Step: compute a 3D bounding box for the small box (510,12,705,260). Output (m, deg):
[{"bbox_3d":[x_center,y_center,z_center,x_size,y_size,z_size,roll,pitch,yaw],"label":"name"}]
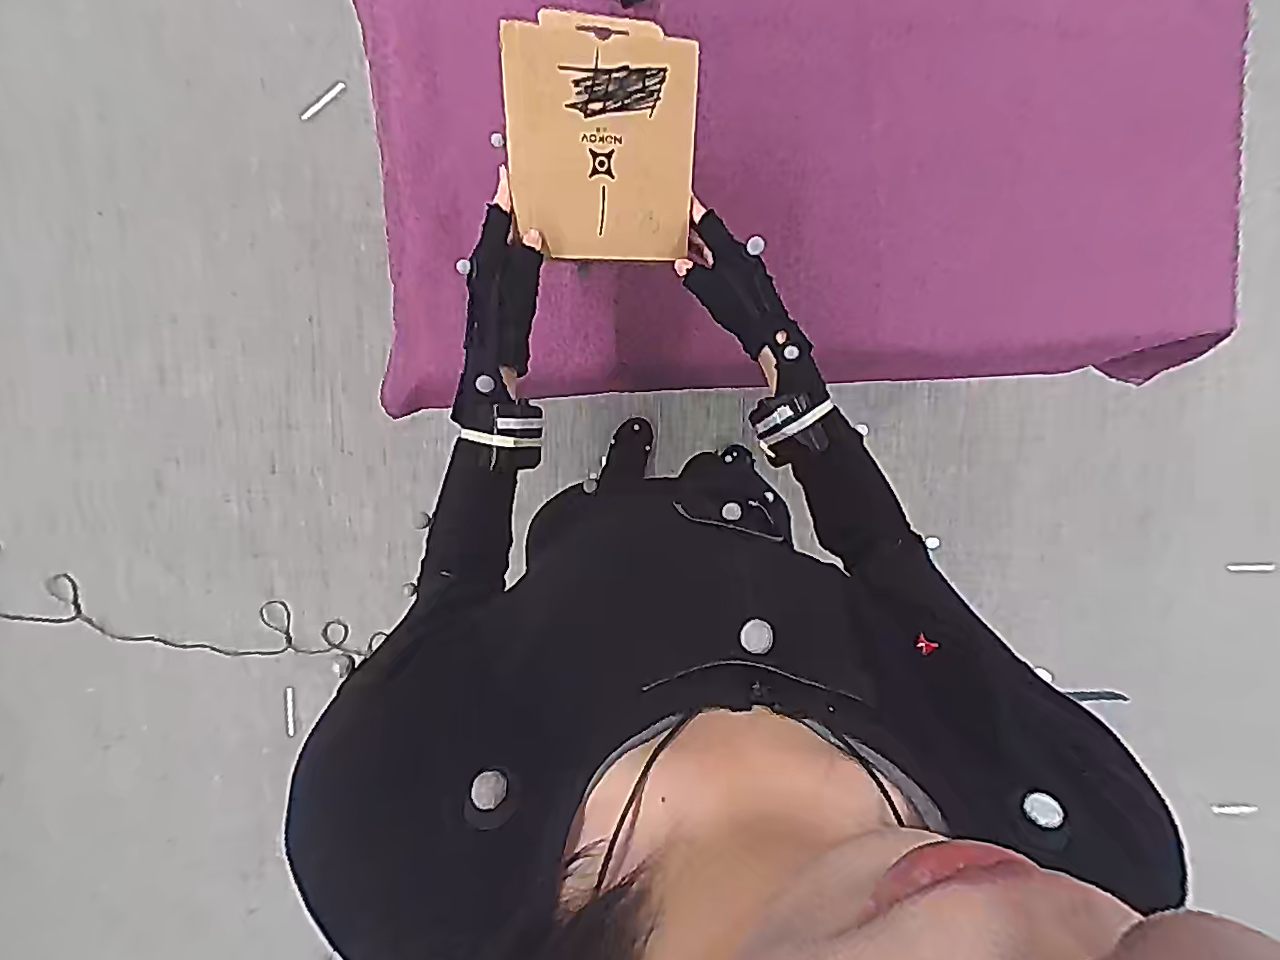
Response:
[{"bbox_3d":[-0.043,-0.318,0.541,0.168,0.176,0.179,-3,113,-11],"label":"small box"}]
